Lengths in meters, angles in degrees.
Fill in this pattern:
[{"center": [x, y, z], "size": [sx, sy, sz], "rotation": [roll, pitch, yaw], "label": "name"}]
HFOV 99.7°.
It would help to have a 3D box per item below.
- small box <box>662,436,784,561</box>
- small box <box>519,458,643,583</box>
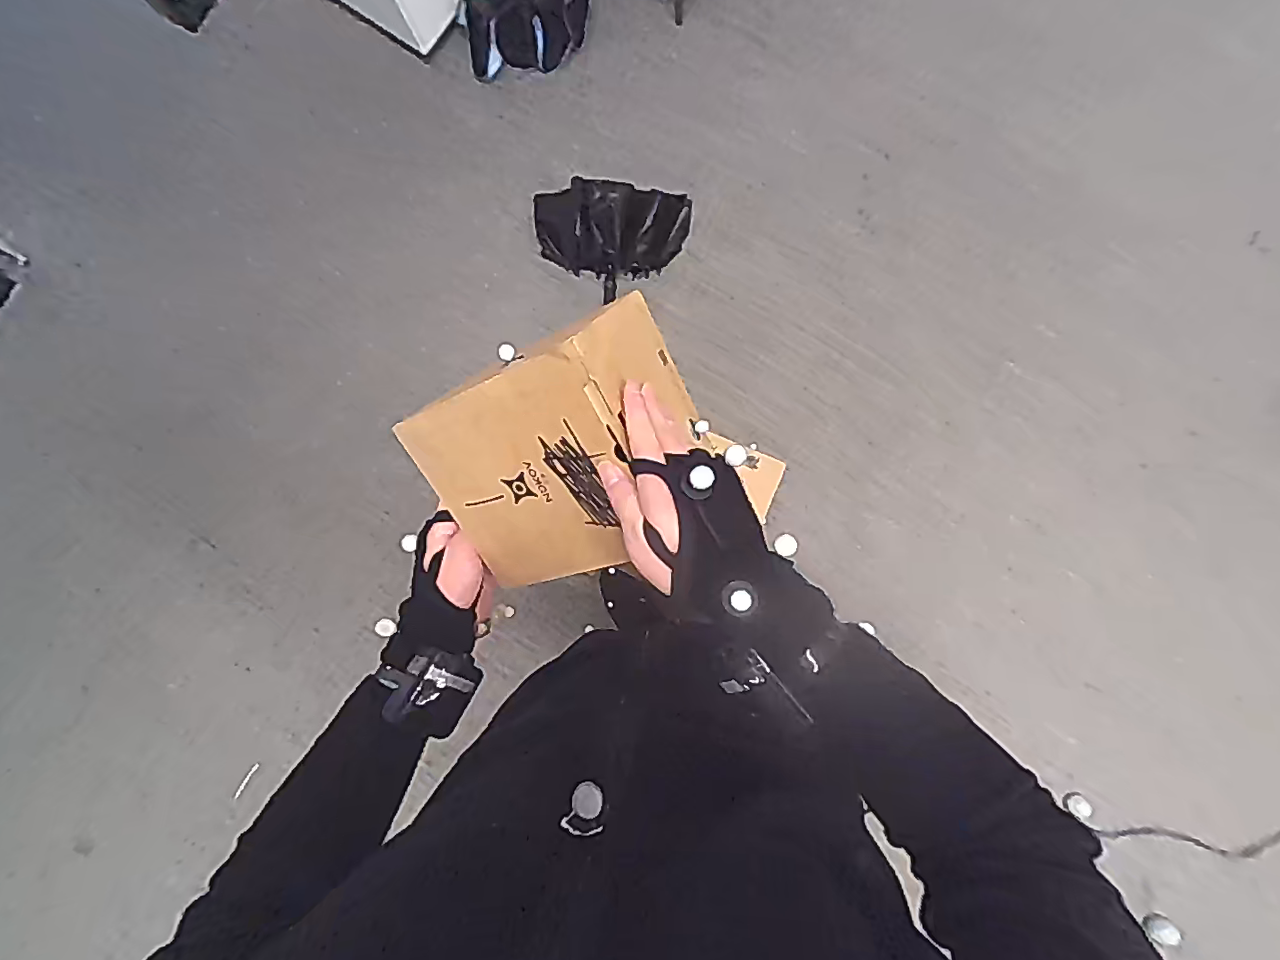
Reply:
[{"center": [0.153, 0.040, 1.025], "size": [0.168, 0.176, 0.179], "rotation": [23, 86, 6], "label": "small box"}, {"center": [-0.103, 0.075, 1.045], "size": [0.168, 0.176, 0.179], "rotation": [26, 91, 8], "label": "small box"}]
